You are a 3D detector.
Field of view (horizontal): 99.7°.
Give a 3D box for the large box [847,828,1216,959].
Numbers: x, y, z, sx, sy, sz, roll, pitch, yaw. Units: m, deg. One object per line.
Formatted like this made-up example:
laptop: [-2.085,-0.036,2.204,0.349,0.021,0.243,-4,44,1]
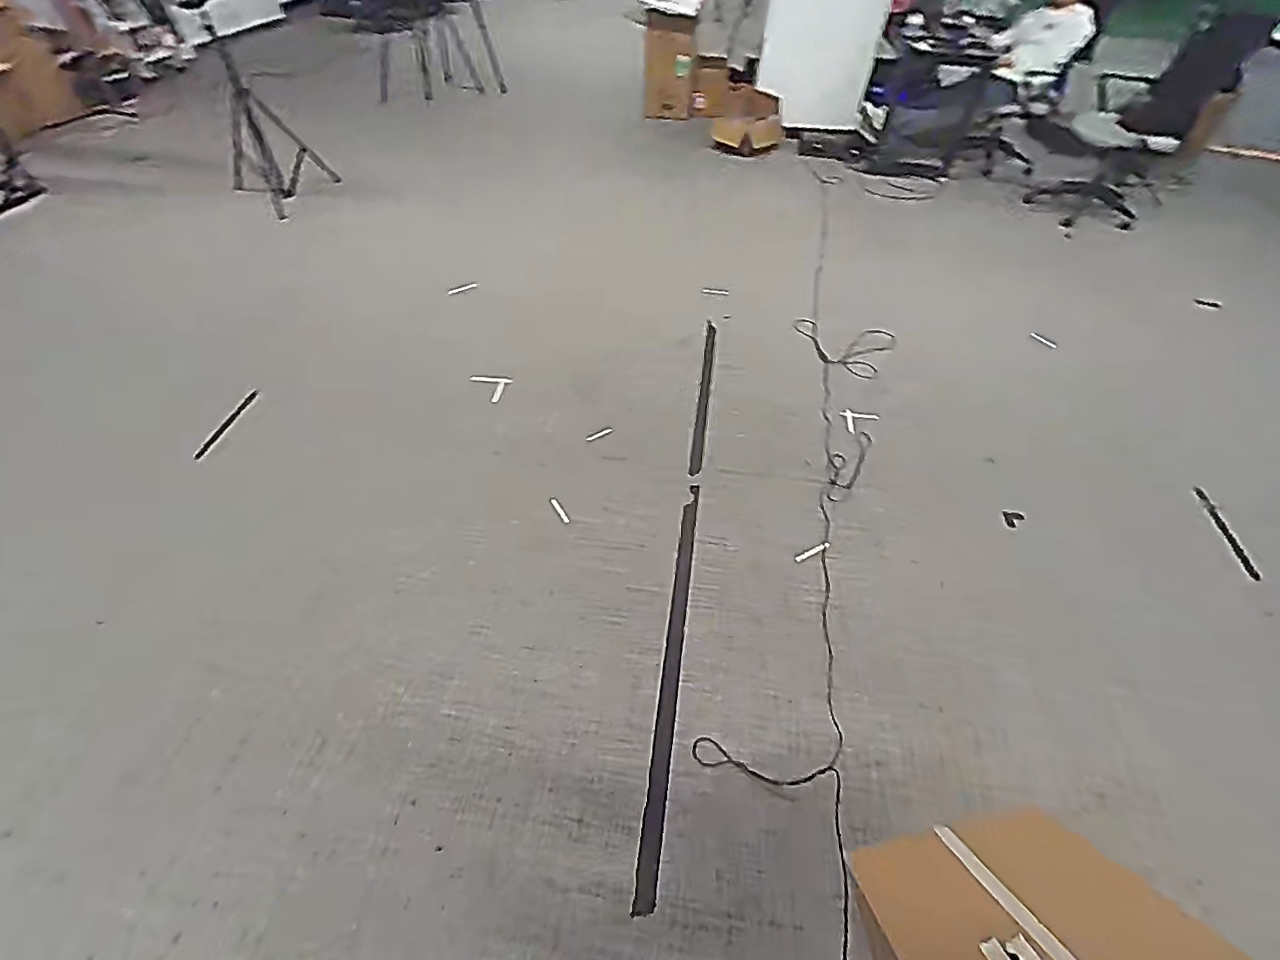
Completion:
large box: [0.489,0.687,0.618,0.320,0.408,0.320,-15,82,2]
